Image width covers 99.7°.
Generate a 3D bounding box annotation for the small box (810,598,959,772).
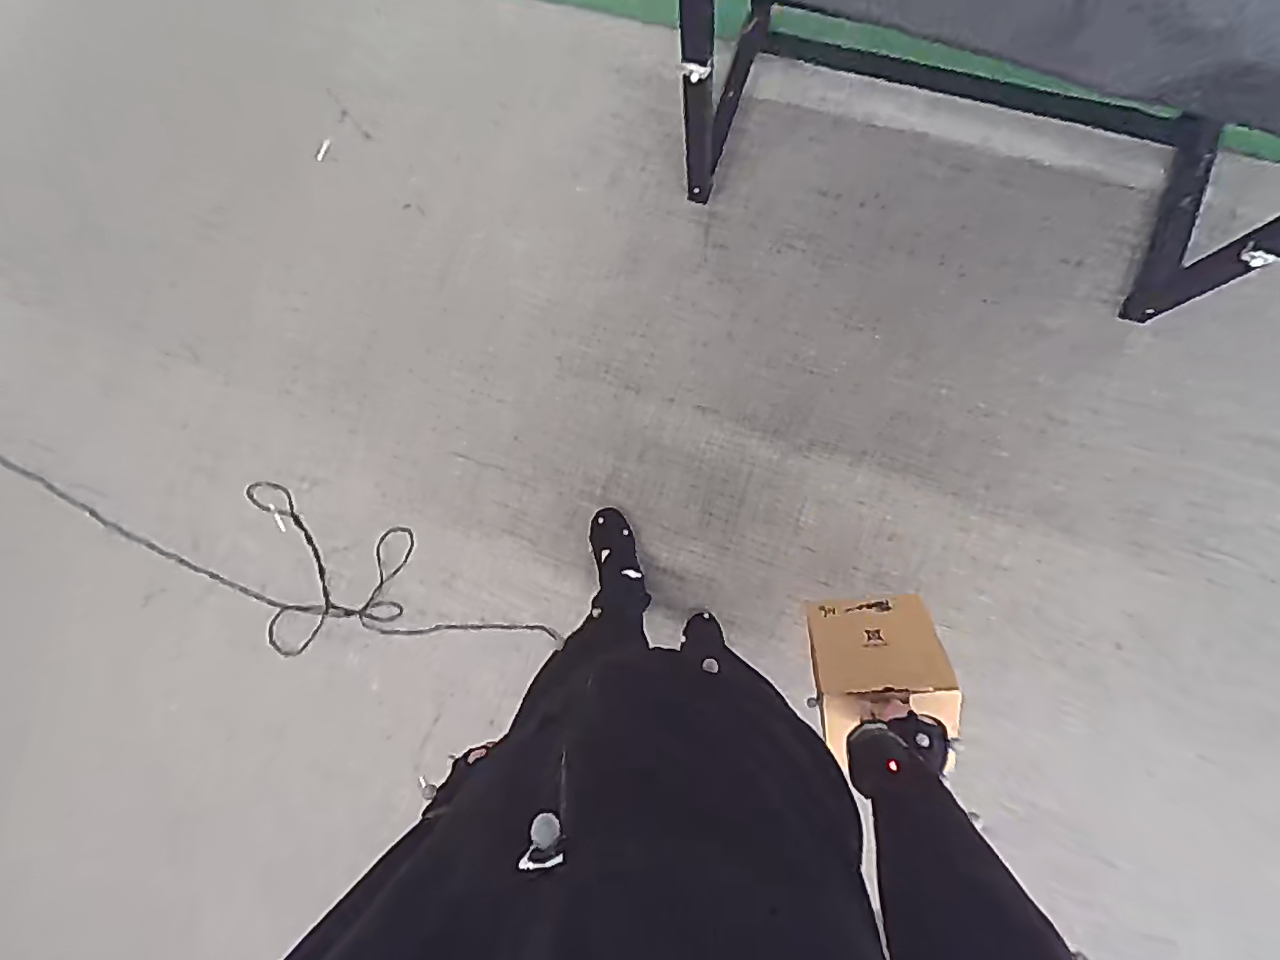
[{"bbox_3d":[0.343,0.294,0.783,0.168,0.179,0.176,-5,119,14],"label":"small box"}]
